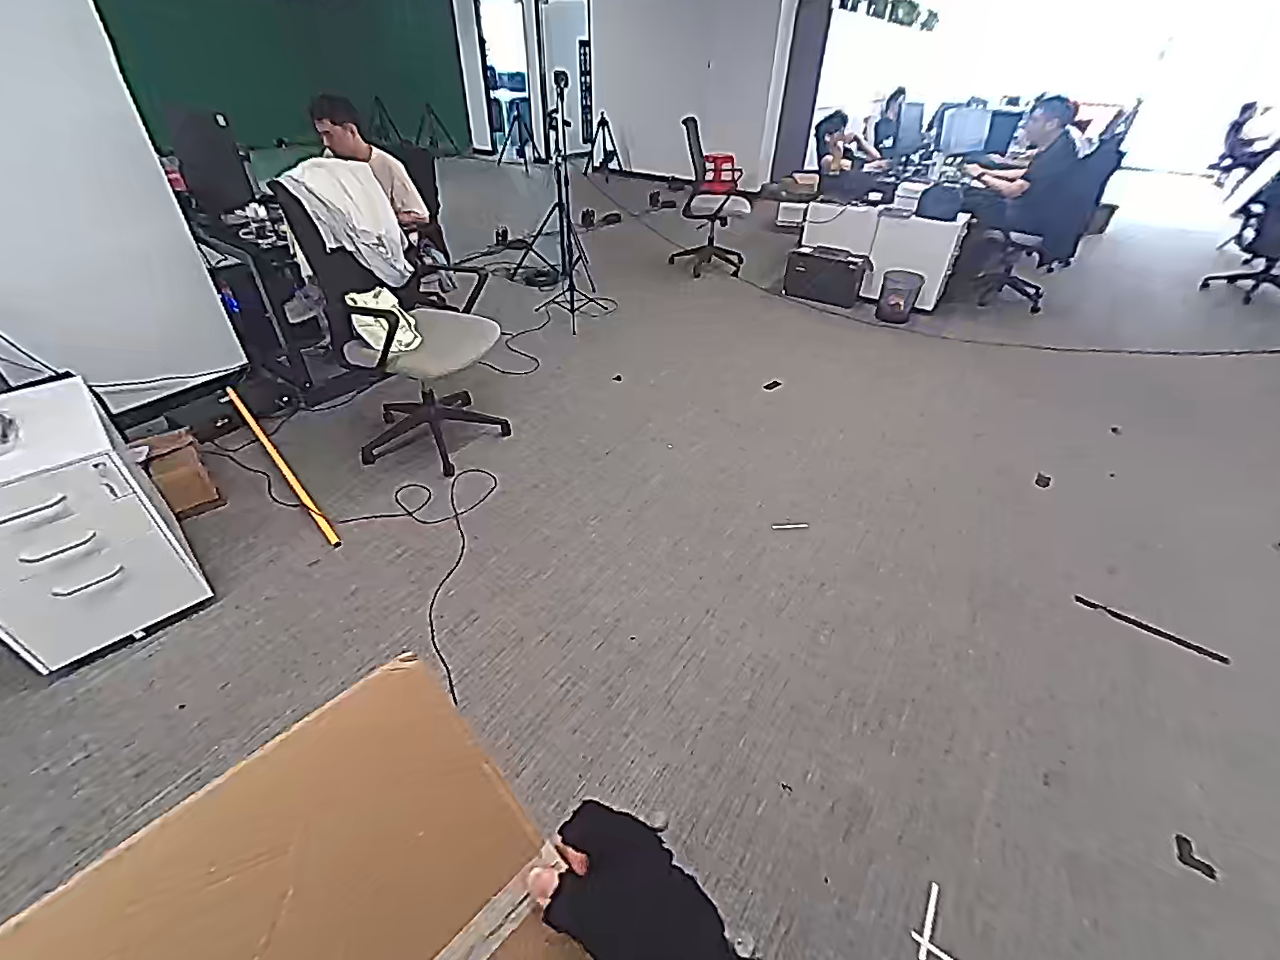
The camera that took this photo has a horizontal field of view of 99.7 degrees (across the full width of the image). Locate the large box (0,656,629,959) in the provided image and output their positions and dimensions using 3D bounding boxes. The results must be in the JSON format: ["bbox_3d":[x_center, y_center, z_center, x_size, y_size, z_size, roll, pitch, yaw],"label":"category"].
[{"bbox_3d":[-0.252,0.387,0.361,0.408,0.320,0.320,-35,85,-32],"label":"large box"}]
